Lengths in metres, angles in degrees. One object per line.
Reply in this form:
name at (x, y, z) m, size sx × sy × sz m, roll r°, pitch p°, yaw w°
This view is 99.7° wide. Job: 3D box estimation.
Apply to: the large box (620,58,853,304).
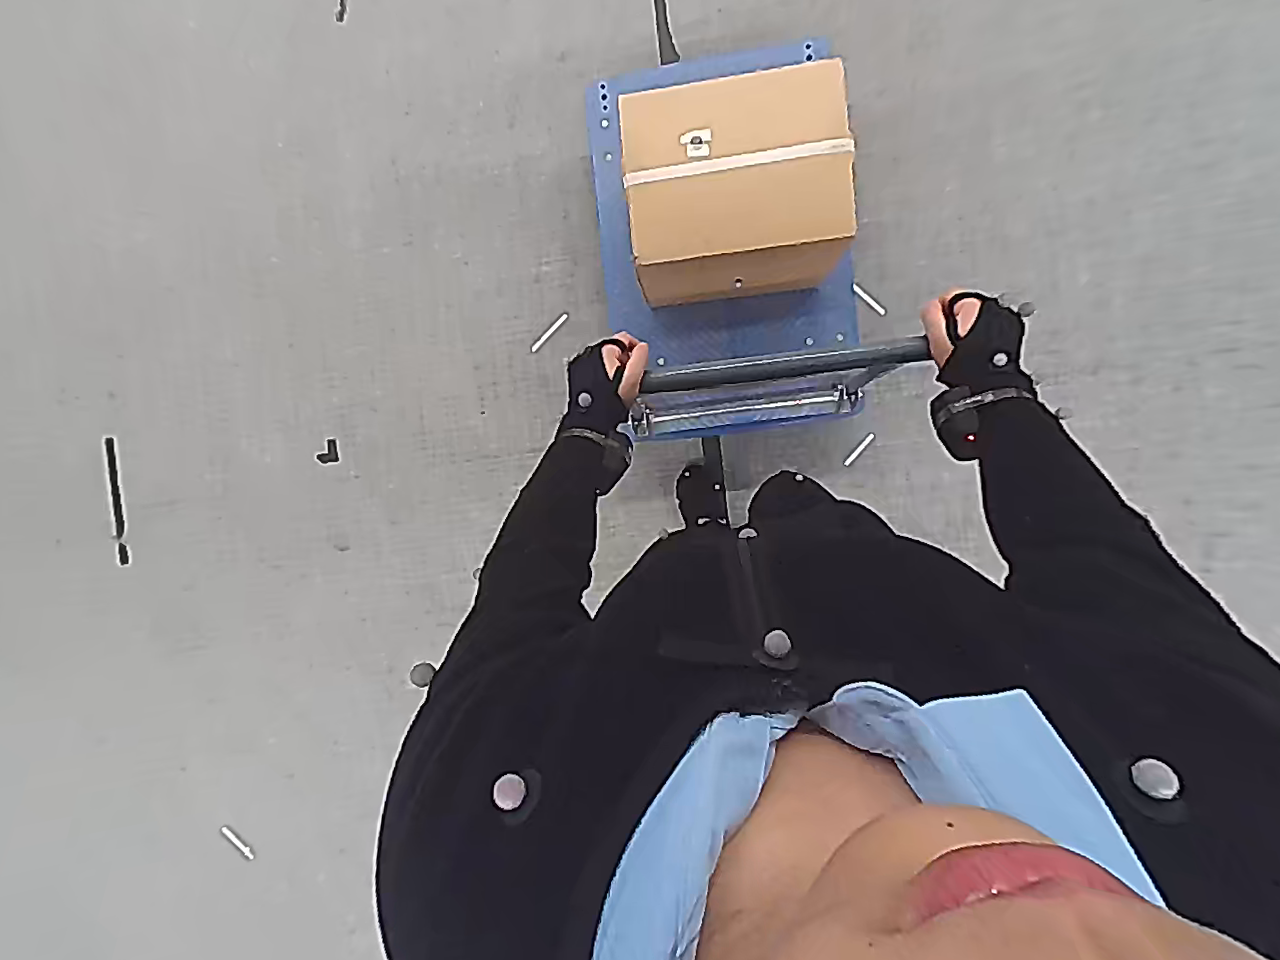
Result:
large box at (0.193, -0.590, 1.142) m, size 0.408 × 0.320 × 0.320 m, roll -6°, pitch 91°, yaw 7°
